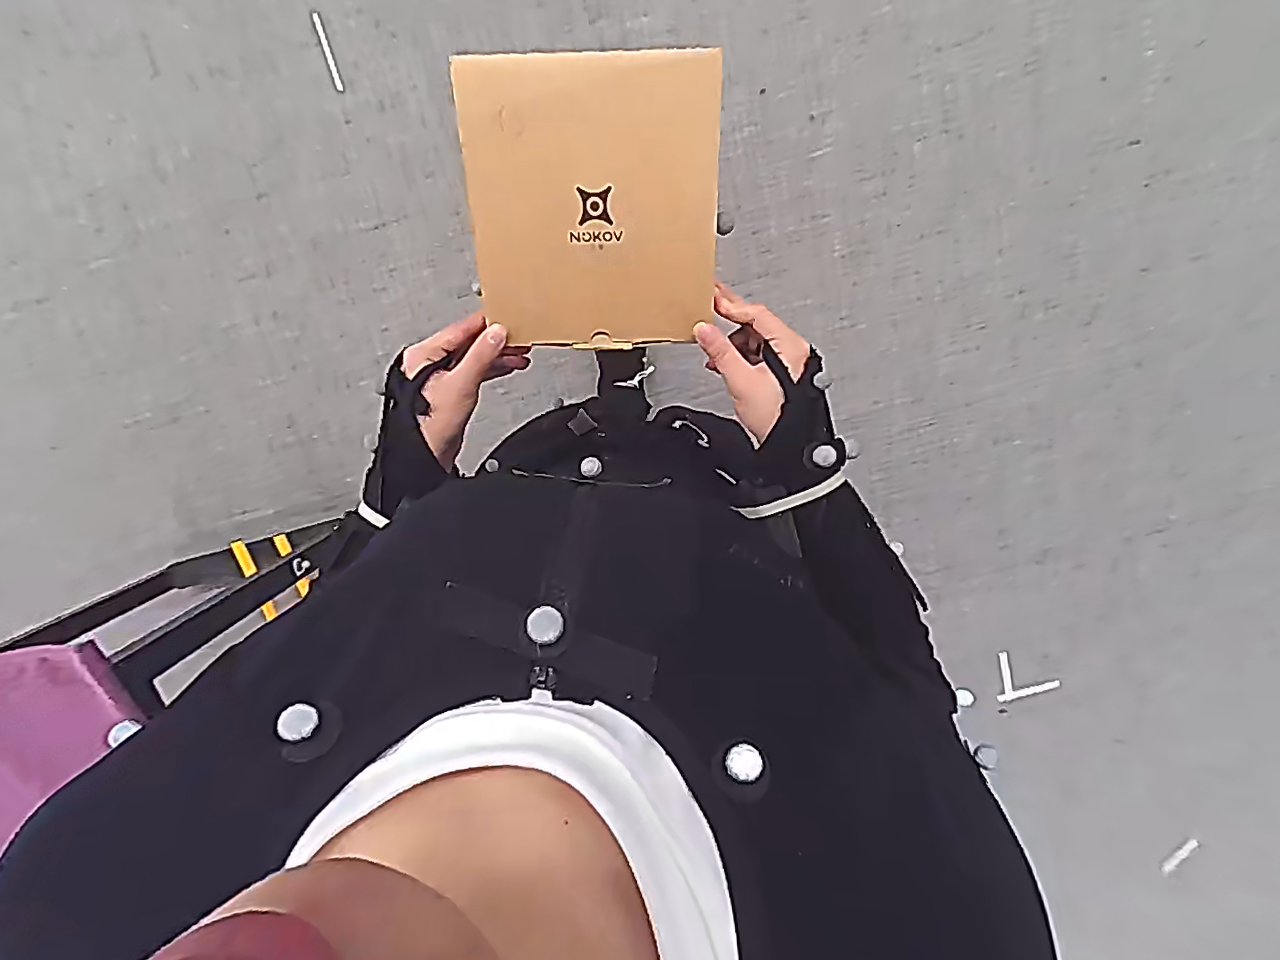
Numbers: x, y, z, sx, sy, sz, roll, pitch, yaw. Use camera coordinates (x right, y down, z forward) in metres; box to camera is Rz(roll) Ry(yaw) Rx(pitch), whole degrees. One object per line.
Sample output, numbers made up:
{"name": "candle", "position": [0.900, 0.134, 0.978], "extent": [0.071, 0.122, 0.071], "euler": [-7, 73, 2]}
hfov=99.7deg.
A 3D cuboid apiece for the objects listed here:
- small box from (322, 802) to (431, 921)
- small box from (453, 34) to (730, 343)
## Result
{"name": "small box", "position": [-0.674, 0.984, 1.405], "extent": [0.179, 0.176, 0.168], "euler": [-15, 103, 0]}
{"name": "small box", "position": [-0.030, -0.212, 0.421], "extent": [0.168, 0.176, 0.179], "euler": [-2, 116, 0]}
